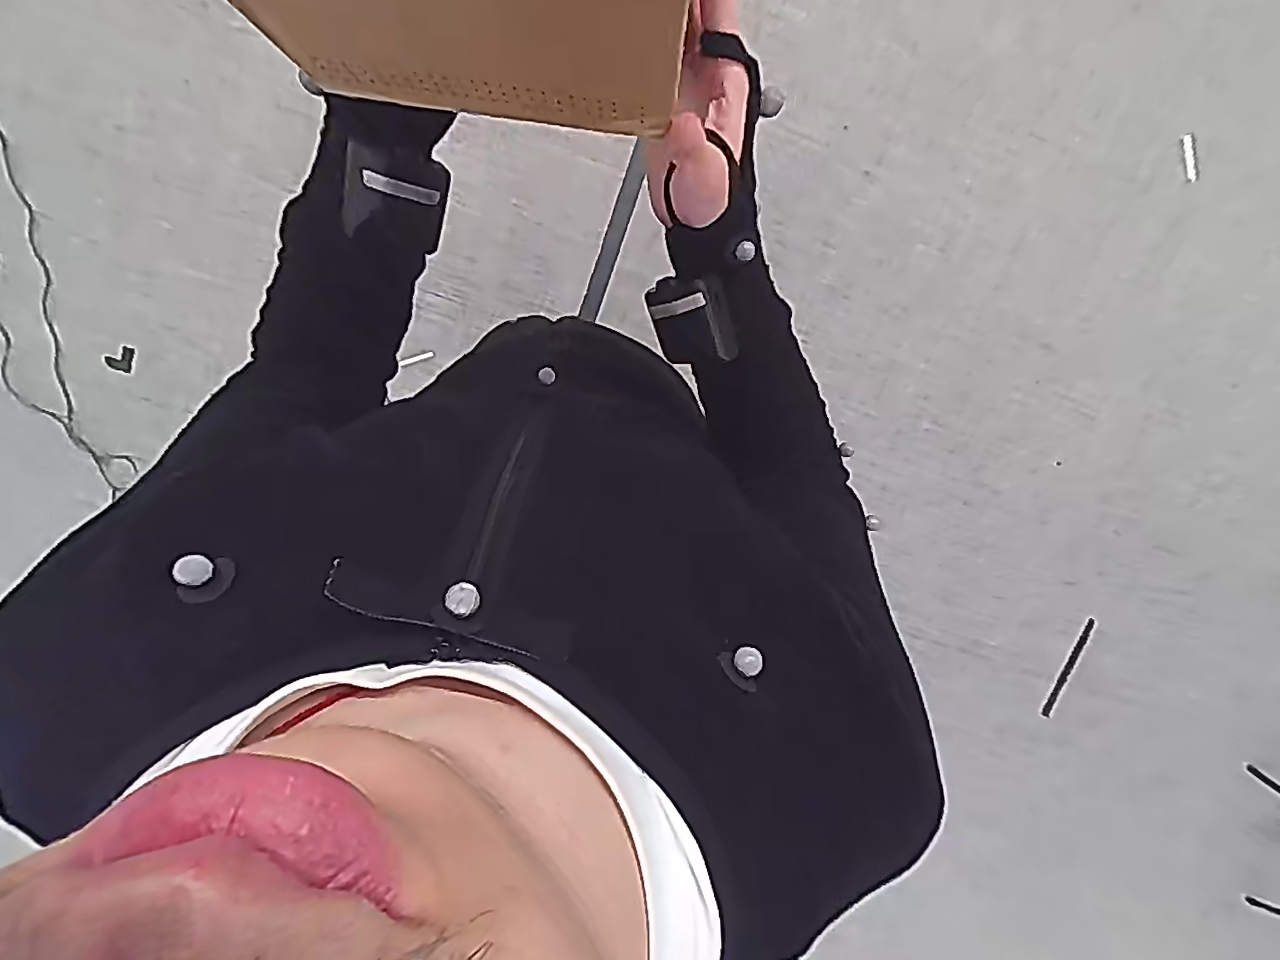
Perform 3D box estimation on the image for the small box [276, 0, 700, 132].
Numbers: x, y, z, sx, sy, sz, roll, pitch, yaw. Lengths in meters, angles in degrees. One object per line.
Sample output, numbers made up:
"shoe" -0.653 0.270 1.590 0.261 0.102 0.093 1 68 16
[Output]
"small box" -0.056 -0.251 0.188 0.179 0.176 0.168 7 101 -3
